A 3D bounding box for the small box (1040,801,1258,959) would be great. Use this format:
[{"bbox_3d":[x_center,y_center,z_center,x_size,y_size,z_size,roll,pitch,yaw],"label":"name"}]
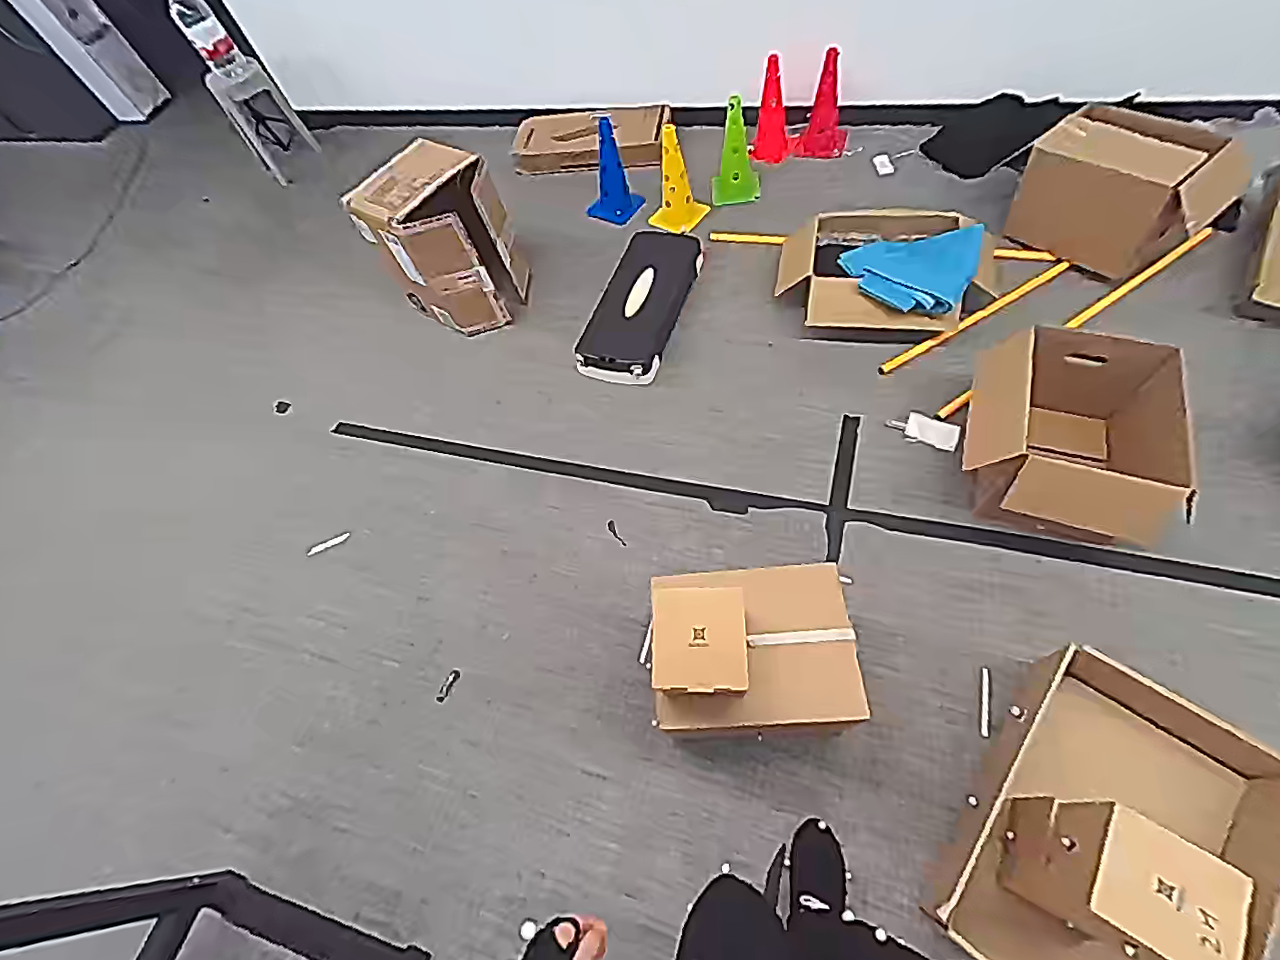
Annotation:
[{"bbox_3d":[0.767,0.631,0.835,0.179,0.176,0.168,28,67,22],"label":"small box"}]
